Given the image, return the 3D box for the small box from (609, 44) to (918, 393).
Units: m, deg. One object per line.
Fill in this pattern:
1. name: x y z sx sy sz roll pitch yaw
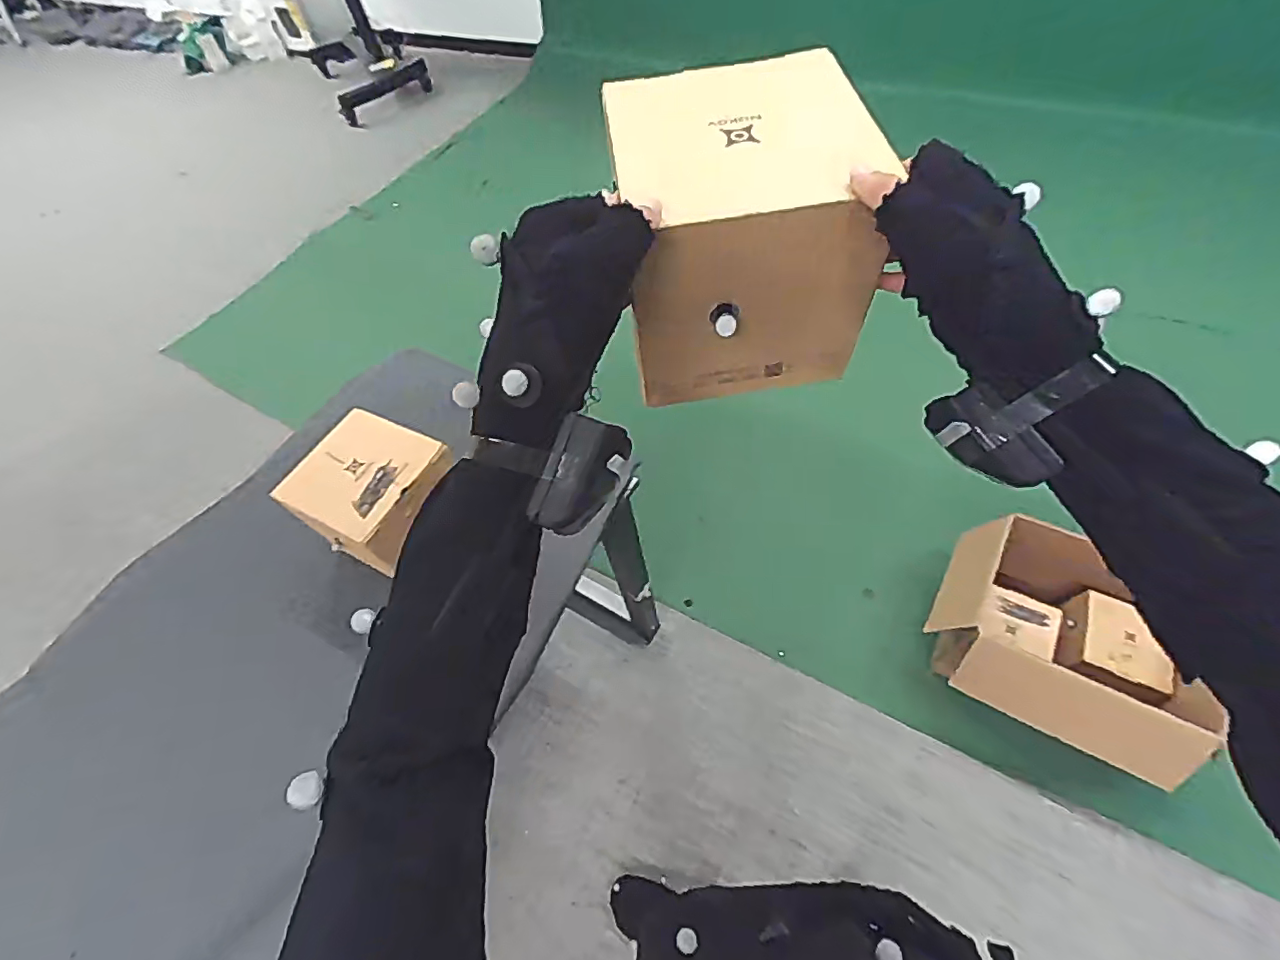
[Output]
1. small box: 0.074 -0.181 0.409 0.168 0.176 0.179 -8 59 1

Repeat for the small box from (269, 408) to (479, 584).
1. small box: -0.367 0.030 0.782 0.179 0.176 0.168 21 62 20
